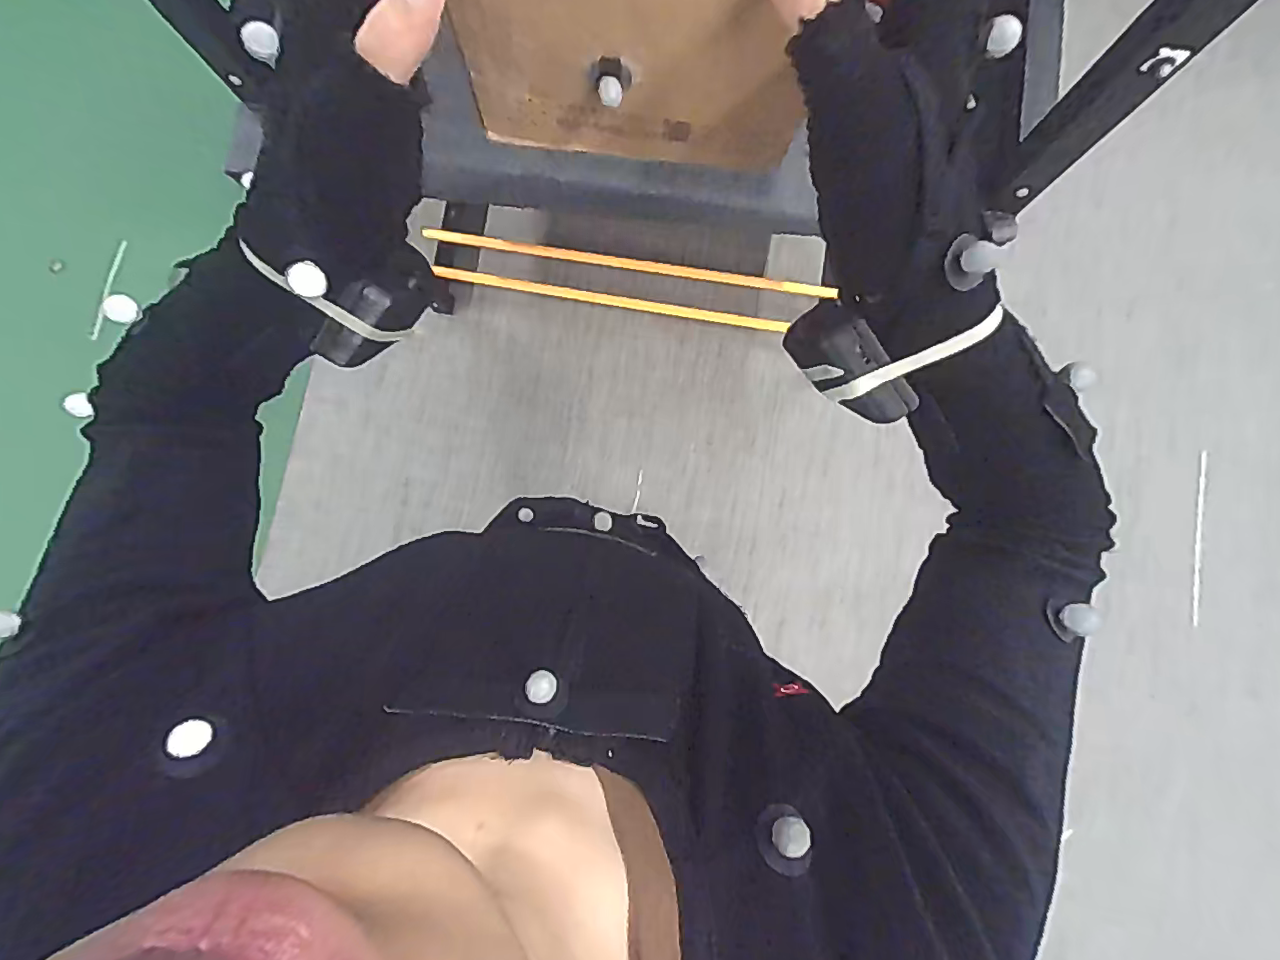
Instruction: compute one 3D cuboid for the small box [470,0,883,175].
[{"bbox_3d":[0.013,-0.268,0.225,0.168,0.176,0.179,4,89,-4],"label":"small box"}]
